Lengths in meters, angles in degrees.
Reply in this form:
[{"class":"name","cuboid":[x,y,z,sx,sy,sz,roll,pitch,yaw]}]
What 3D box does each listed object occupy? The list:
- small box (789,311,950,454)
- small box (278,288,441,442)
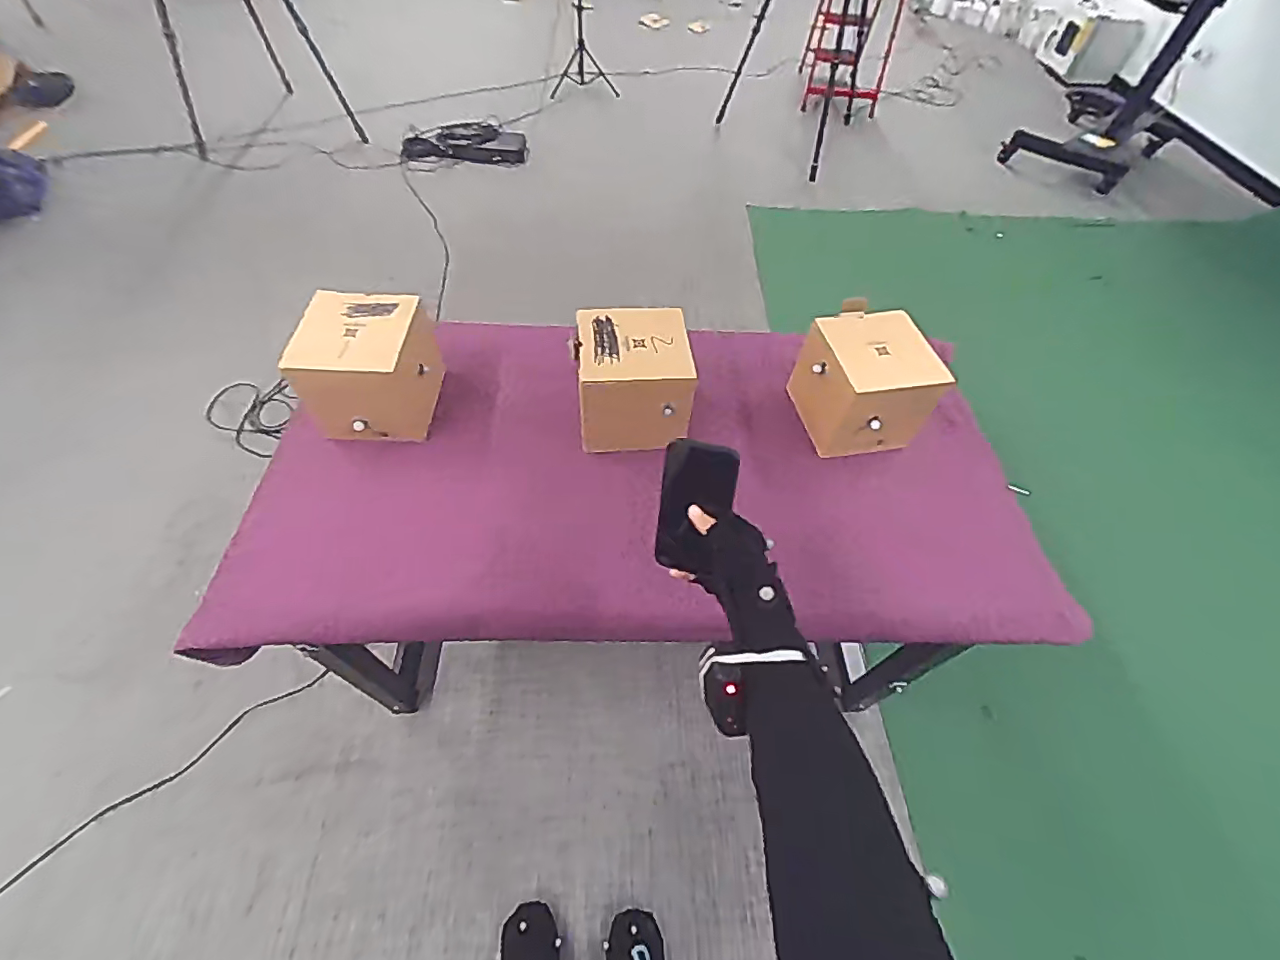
[{"class":"small box","cuboid":[0.375,-0.158,0.920,0.168,0.176,0.179,-8,55,-8]},{"class":"small box","cuboid":[-0.438,-0.185,0.882,0.168,0.176,0.179,2,57,-2]}]
